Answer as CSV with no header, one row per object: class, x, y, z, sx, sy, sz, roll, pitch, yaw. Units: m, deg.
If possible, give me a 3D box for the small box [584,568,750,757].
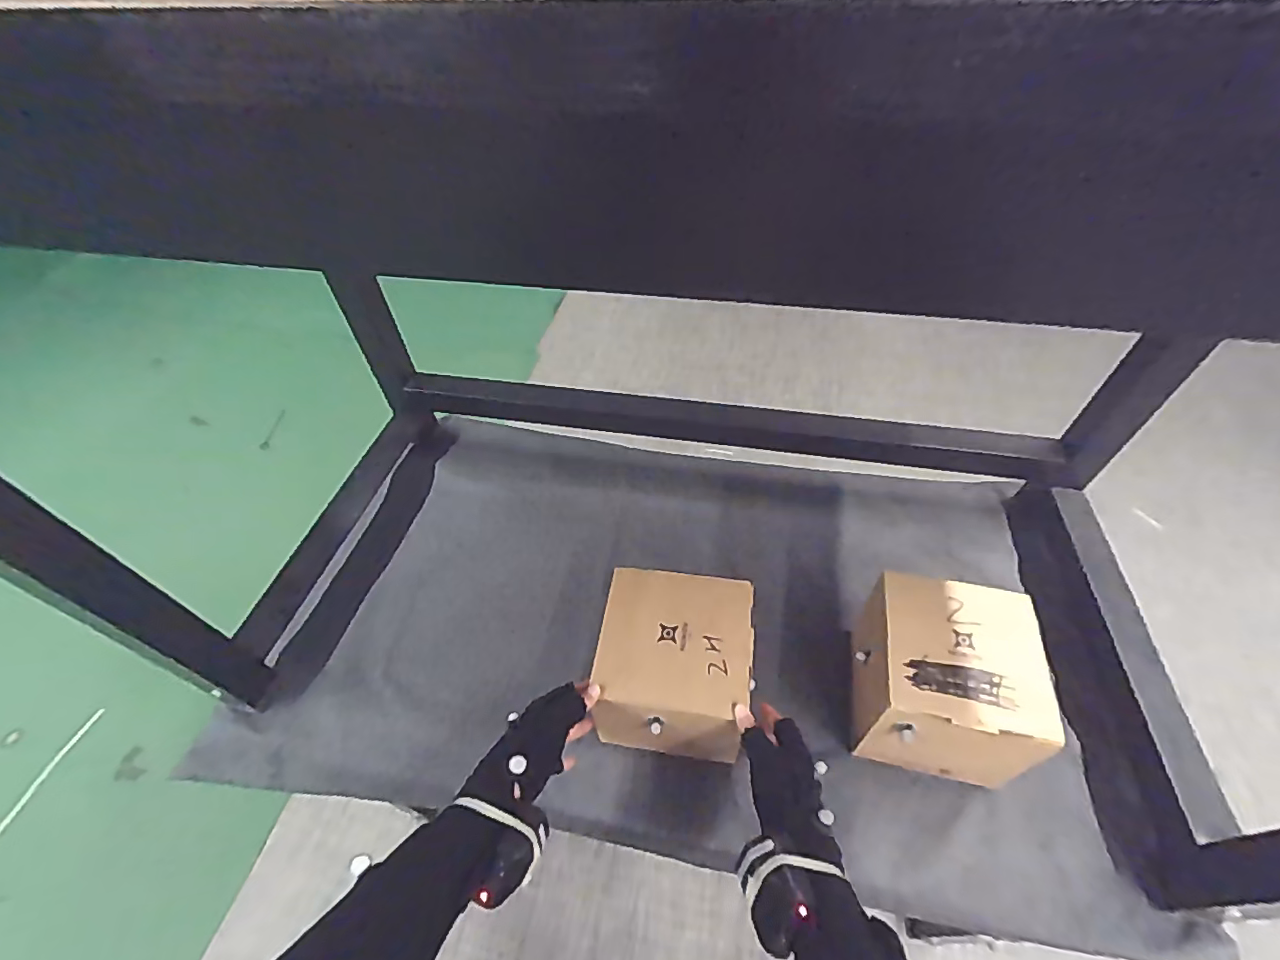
small box,0.041,0.234,0.685,0.179,0.176,0.168,6,50,8
